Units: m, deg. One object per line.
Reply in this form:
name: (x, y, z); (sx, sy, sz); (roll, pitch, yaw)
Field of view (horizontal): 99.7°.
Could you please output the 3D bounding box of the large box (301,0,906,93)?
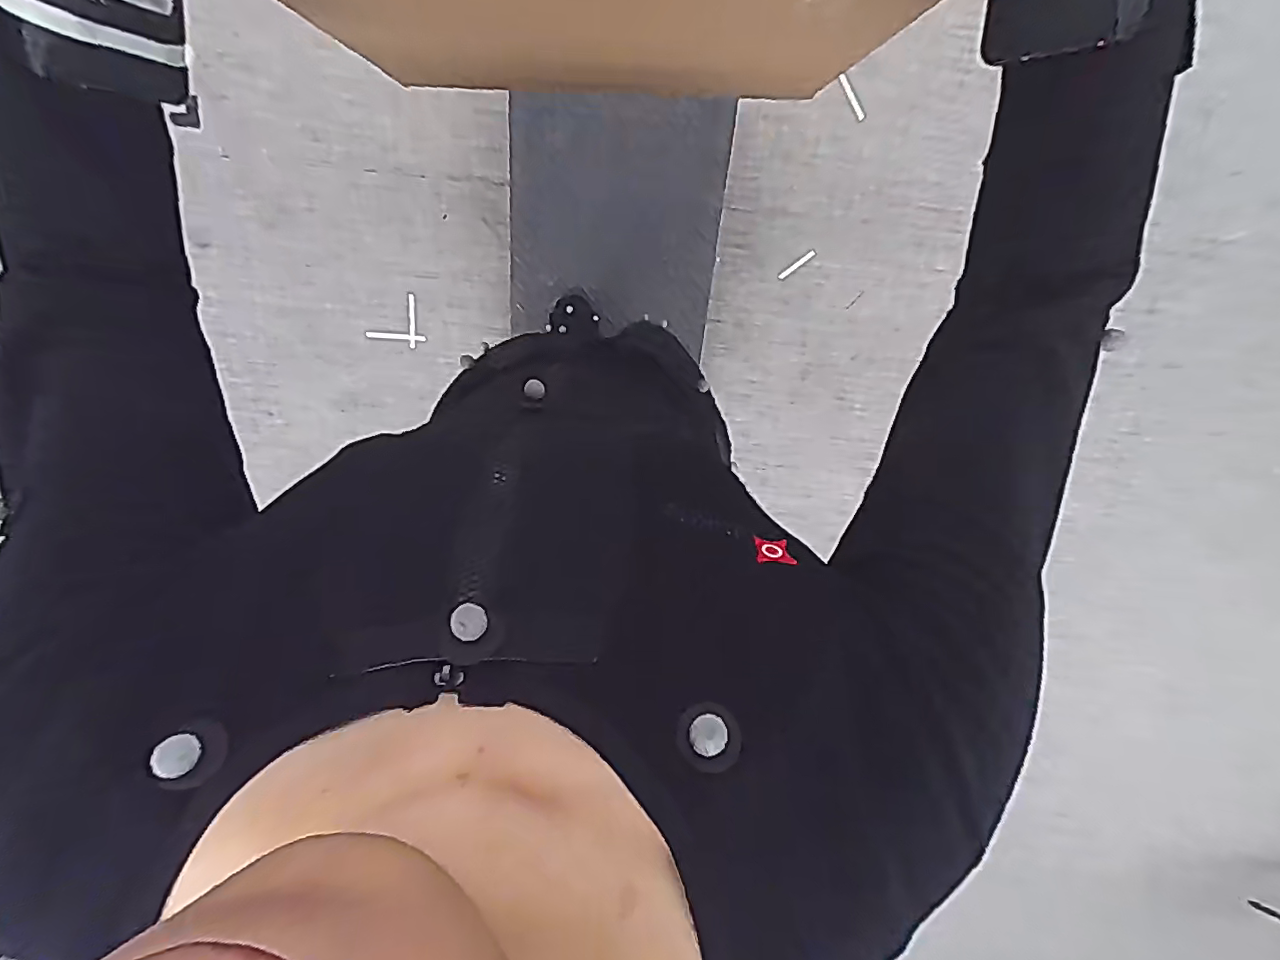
large box: (-0.025, -0.466, 0.338); (0.408, 0.320, 0.320); (0, 114, -2)
